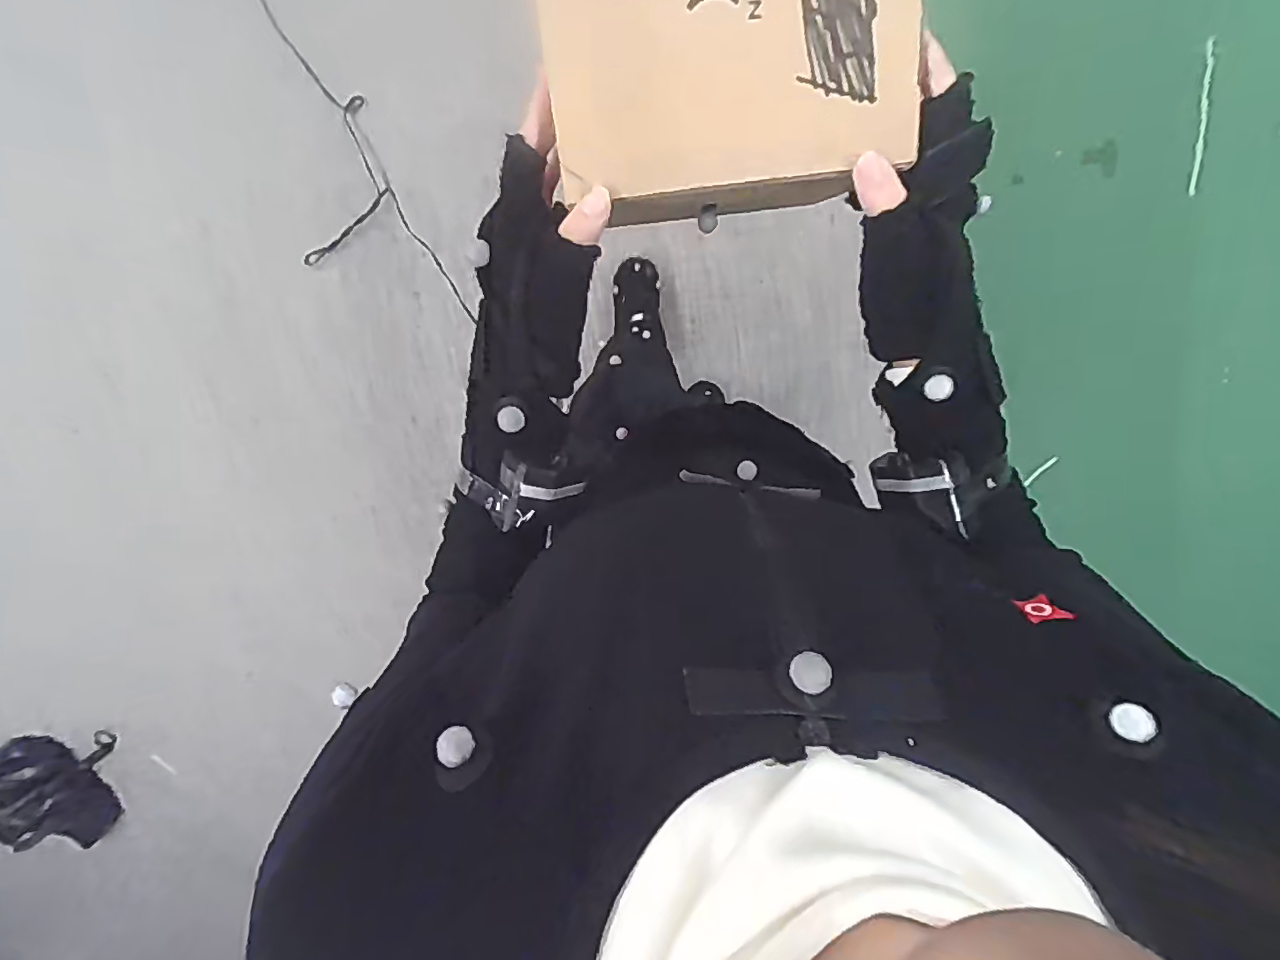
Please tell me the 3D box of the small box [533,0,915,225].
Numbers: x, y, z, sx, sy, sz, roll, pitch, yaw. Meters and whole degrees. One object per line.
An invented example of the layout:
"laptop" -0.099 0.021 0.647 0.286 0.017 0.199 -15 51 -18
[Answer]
"small box" 0.038 -0.251 0.317 0.179 0.176 0.168 -6 112 3
